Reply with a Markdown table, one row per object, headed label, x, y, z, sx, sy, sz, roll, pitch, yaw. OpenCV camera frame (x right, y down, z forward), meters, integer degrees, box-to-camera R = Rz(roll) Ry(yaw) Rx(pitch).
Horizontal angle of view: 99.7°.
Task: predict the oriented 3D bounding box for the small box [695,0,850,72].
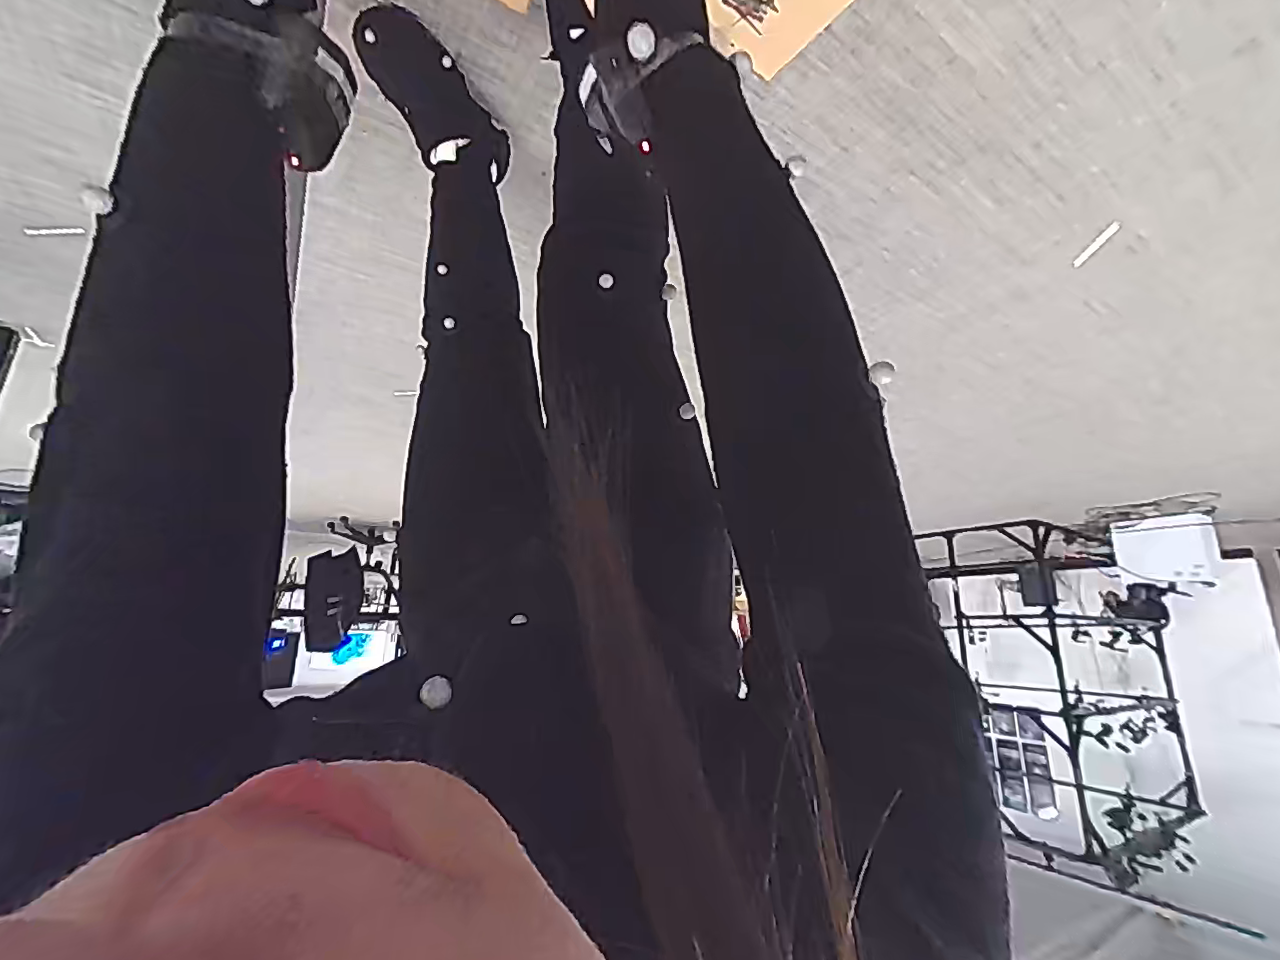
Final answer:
| label | x | y | z | sx | sy | sz | roll | pitch | yaw |
| --- | --- | --- | --- | --- | --- | --- | --- | --- | --- |
| small box | 0.142 | -0.582 | 0.538 | 0.168 | 0.176 | 0.179 | 13 | 160 | -38 |
